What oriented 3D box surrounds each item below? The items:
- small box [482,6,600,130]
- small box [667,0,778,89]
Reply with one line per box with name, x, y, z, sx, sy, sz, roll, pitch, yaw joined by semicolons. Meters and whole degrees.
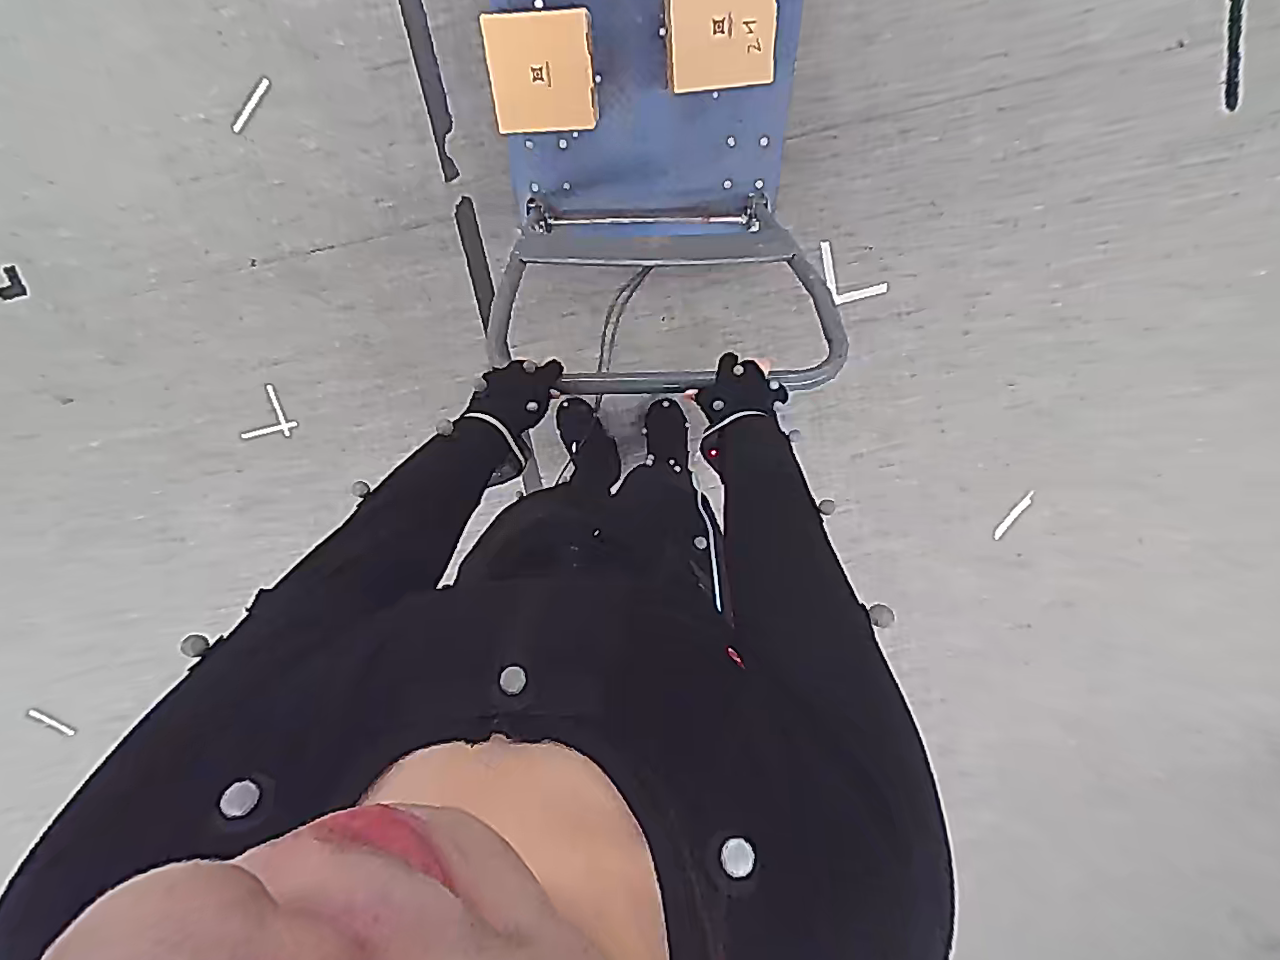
small box;-0.169;-0.743;0.984;0.179;0.176;0.168;-4;128;0
small box;0.138;-0.796;0.950;0.179;0.176;0.168;-5;128;2
